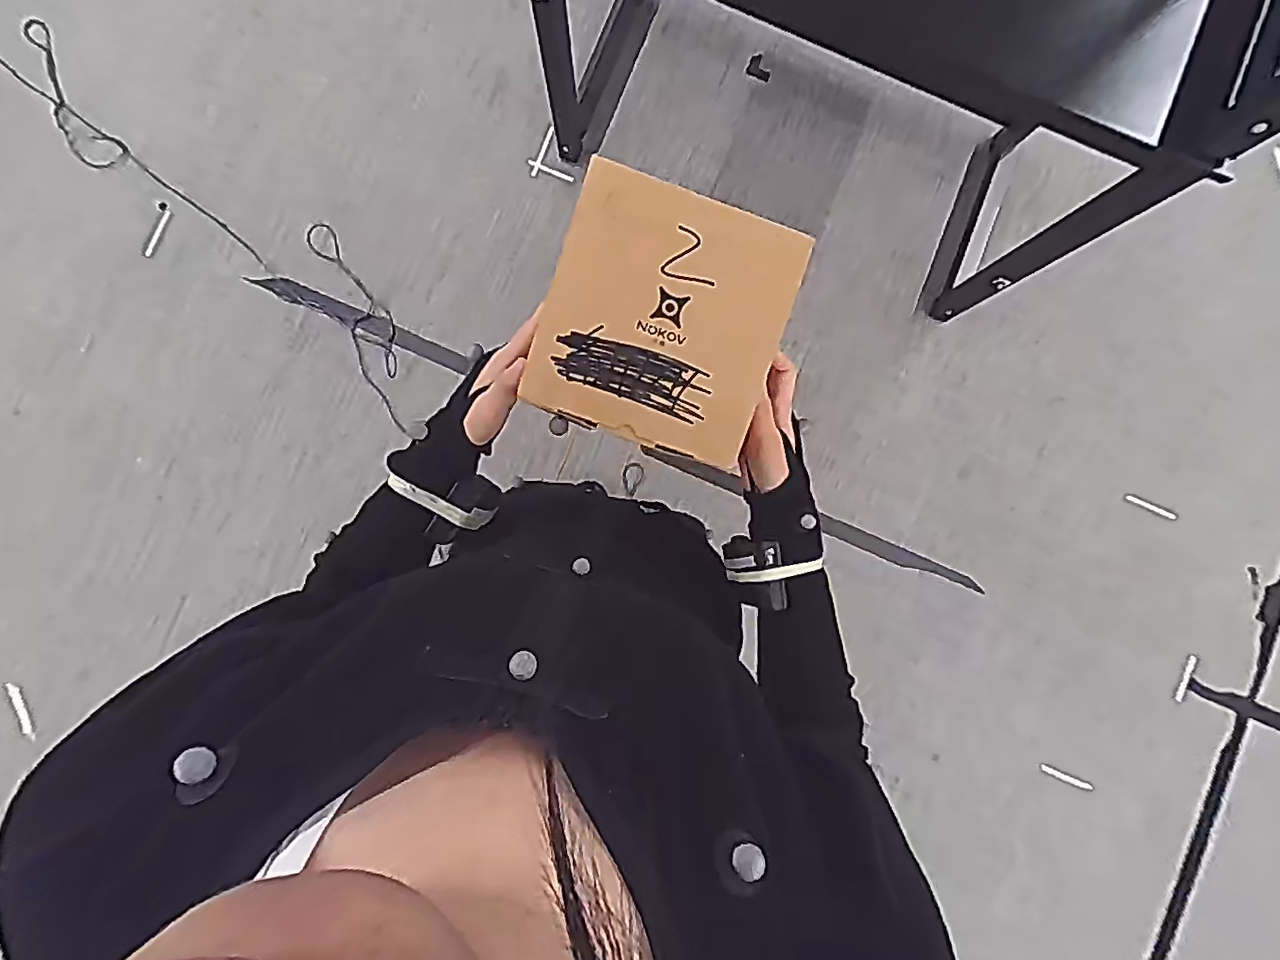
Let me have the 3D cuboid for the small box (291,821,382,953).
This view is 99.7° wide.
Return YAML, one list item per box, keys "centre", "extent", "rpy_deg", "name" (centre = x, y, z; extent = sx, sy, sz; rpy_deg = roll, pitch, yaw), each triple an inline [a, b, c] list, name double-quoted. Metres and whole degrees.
- centre: [-0.779, 1.006, 1.352]
  extent: [0.168, 0.176, 0.179]
  rpy_deg: [22, 86, -2]
  name: "small box"
